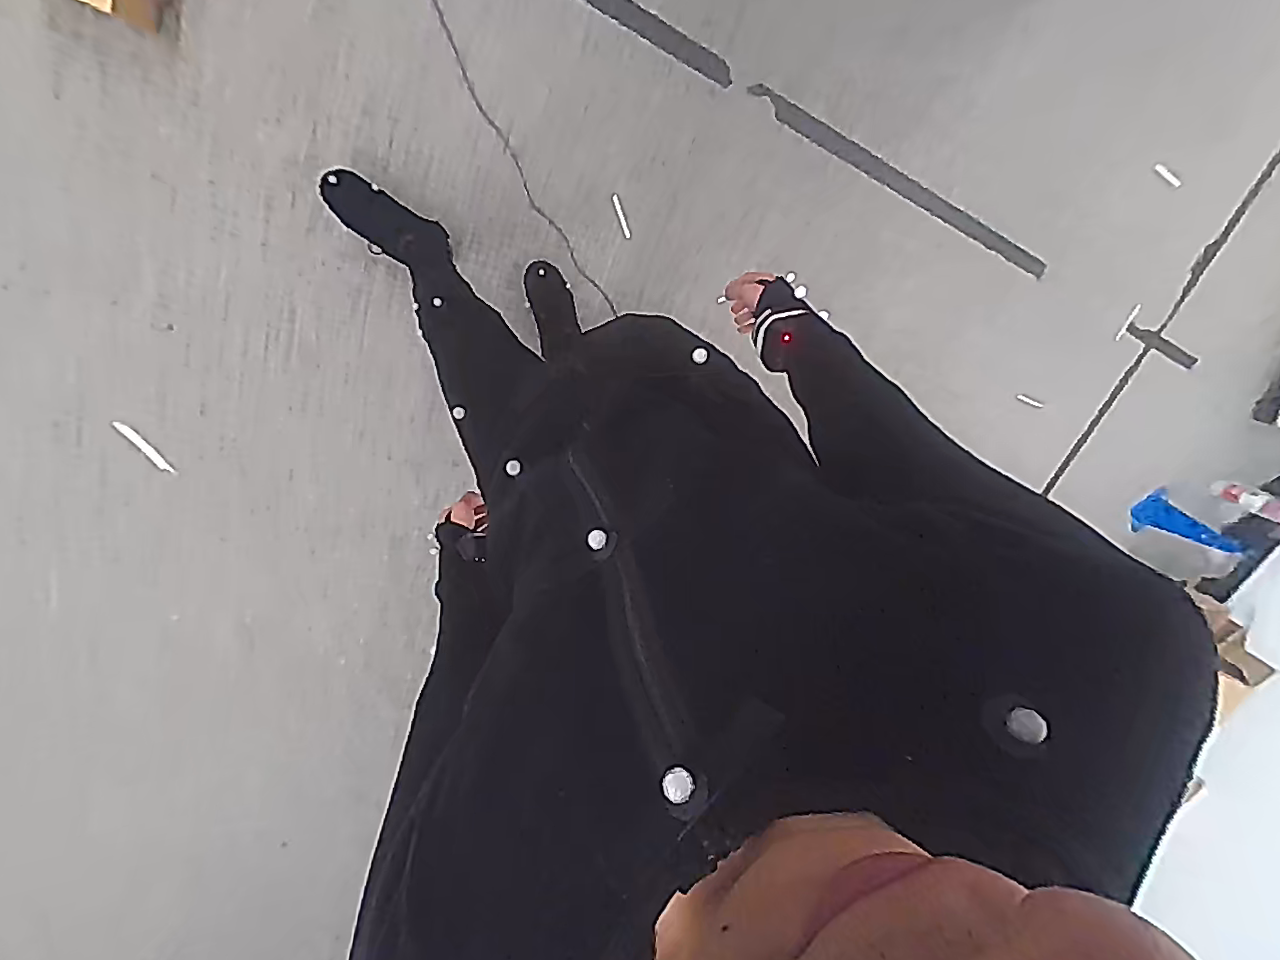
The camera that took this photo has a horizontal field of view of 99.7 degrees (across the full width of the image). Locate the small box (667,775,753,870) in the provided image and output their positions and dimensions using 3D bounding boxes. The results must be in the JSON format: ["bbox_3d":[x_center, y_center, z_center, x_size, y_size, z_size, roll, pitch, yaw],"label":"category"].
[{"bbox_3d":[0.194,0.993,1.573,0.168,0.176,0.179,13,114,-23],"label":"small box"}]
